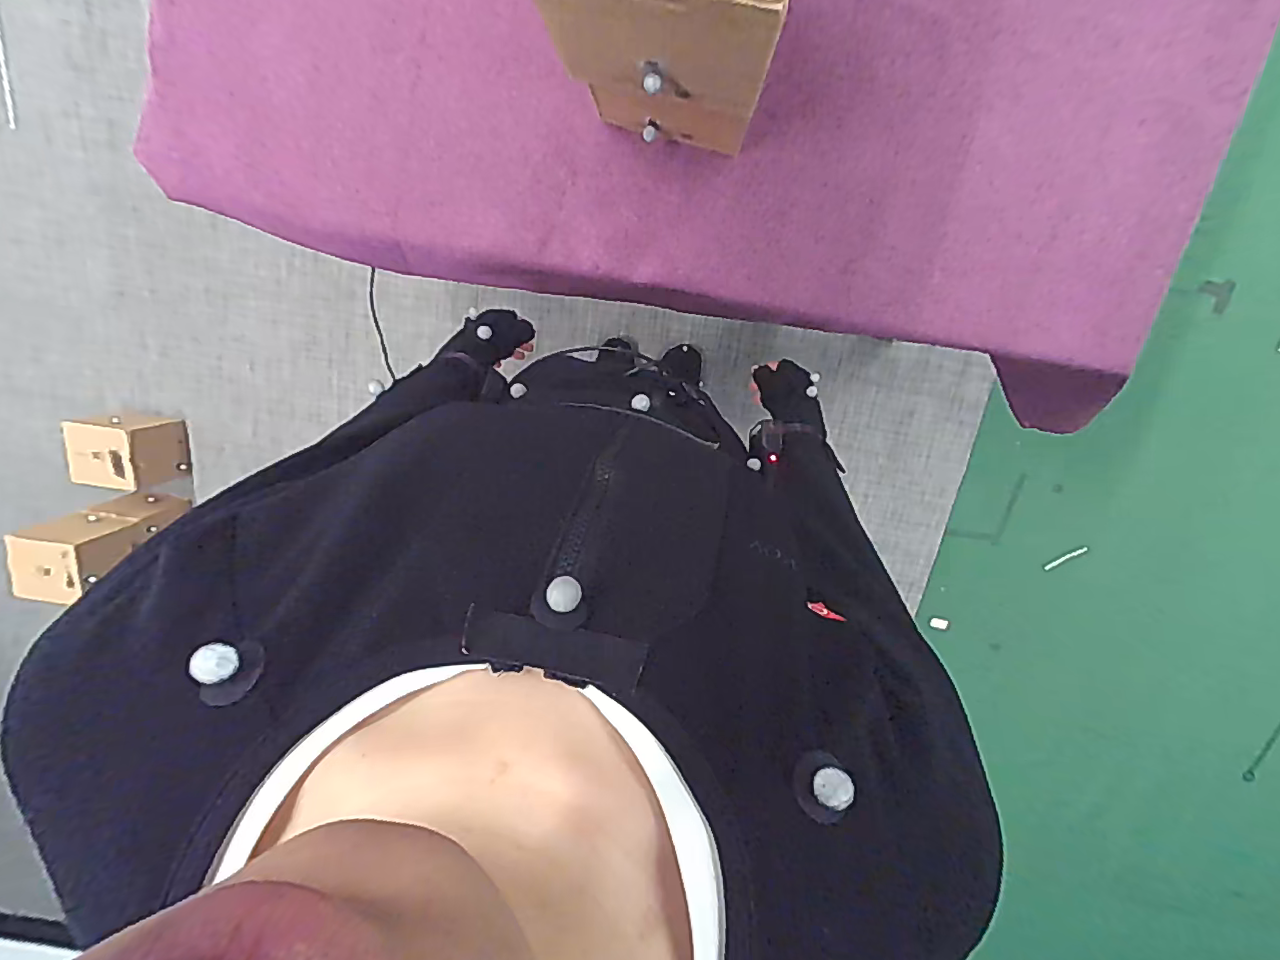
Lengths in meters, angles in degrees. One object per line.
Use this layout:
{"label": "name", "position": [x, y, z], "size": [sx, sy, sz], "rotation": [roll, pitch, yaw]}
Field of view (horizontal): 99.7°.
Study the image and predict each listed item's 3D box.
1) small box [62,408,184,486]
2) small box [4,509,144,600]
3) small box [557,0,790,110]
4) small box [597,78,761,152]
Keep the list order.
{"label": "small box", "position": [-1.382, -0.096, 1.463], "size": [0.179, 0.176, 0.168], "rotation": [8, 106, 2]}
{"label": "small box", "position": [-1.429, 0.182, 1.376], "size": [0.179, 0.176, 0.168], "rotation": [9, 106, 2]}
{"label": "small box", "position": [0.032, -0.399, 0.373], "size": [0.168, 0.176, 0.179], "rotation": [13, 106, 1]}
{"label": "small box", "position": [0.050, -0.457, 0.526], "size": [0.168, 0.176, 0.179], "rotation": [15, 106, 0]}
